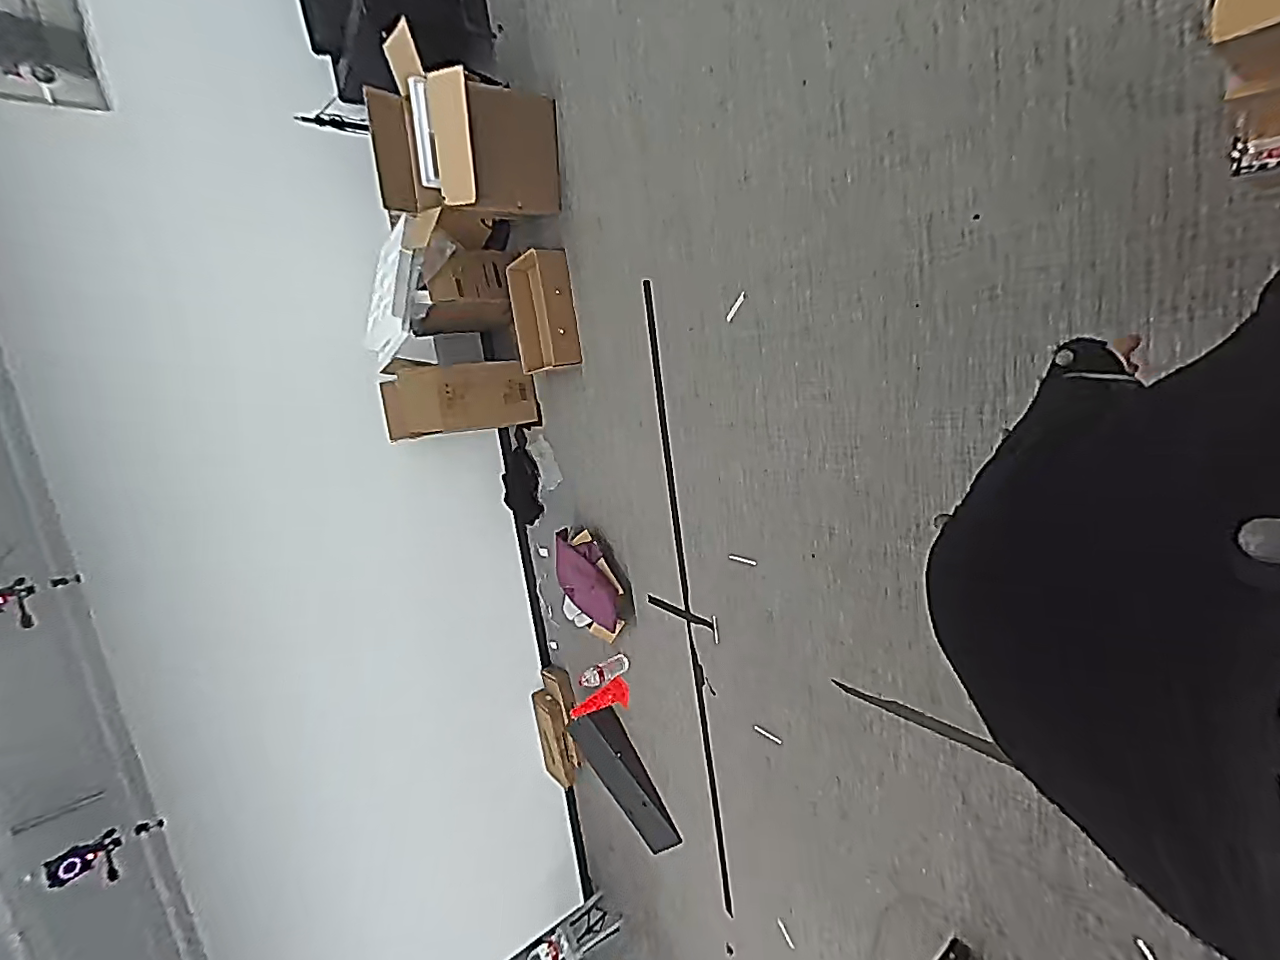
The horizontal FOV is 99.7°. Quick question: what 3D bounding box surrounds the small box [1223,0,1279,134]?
[{"bbox_3d":[0.734,-0.460,0.529,0.179,0.176,0.168,20,120,52],"label":"small box"}]
